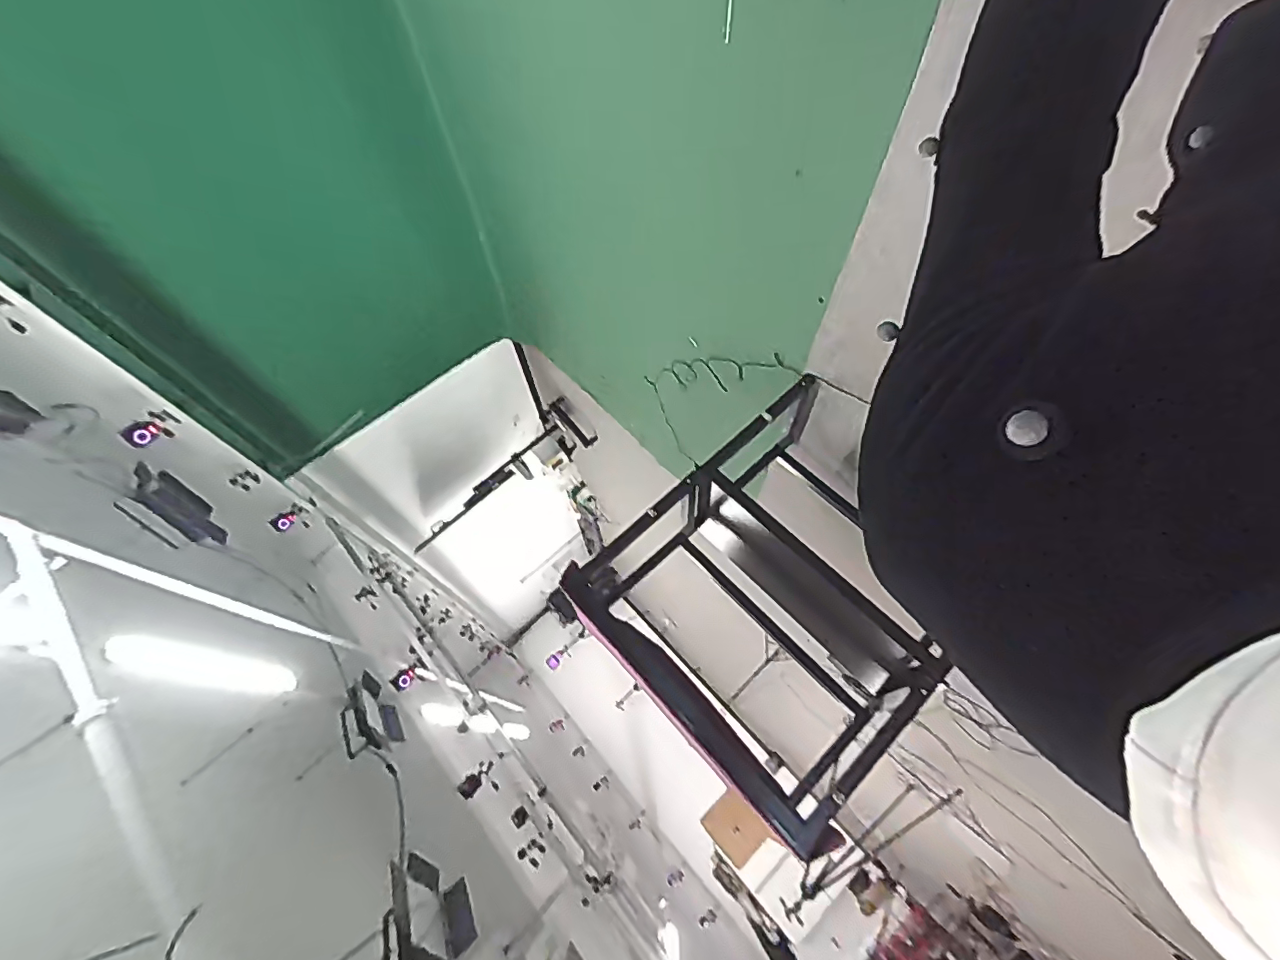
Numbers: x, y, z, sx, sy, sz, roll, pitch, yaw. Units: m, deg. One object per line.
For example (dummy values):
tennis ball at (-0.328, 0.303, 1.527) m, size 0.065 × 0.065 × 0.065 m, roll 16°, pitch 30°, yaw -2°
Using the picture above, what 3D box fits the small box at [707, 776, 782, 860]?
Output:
small box at (0.346, 1.122, 1.812) m, size 0.179 × 0.176 × 0.168 m, roll 43°, pitch 164°, yaw 23°
